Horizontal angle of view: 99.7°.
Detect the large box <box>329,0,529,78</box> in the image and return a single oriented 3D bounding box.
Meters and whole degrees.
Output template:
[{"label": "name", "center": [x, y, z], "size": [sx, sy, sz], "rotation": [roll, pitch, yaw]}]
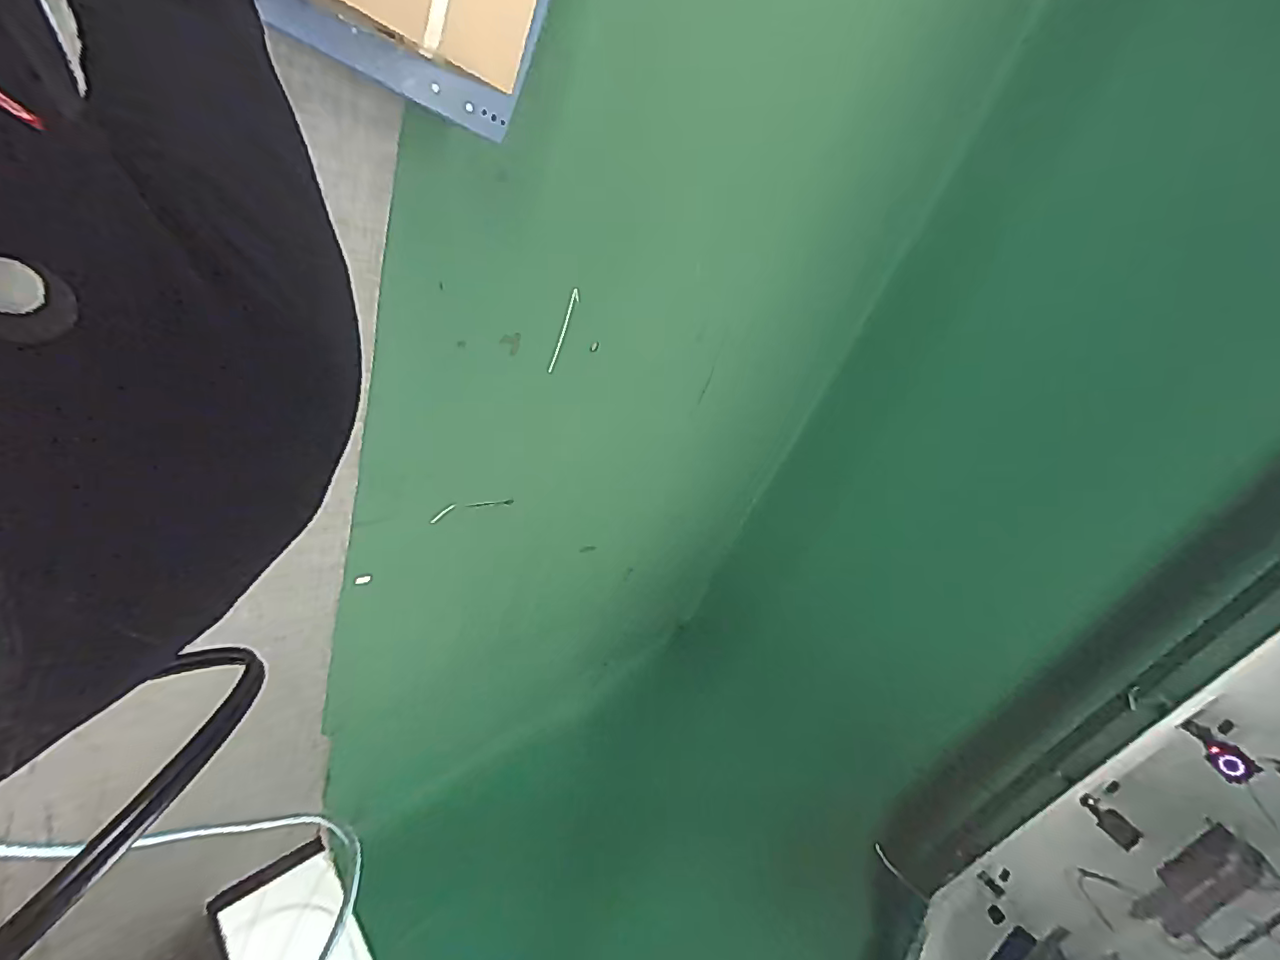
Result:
[{"label": "large box", "center": [-0.345, -0.910, 0.796], "size": [0.320, 0.320, 0.408], "rotation": [-7, 130, -50]}]
